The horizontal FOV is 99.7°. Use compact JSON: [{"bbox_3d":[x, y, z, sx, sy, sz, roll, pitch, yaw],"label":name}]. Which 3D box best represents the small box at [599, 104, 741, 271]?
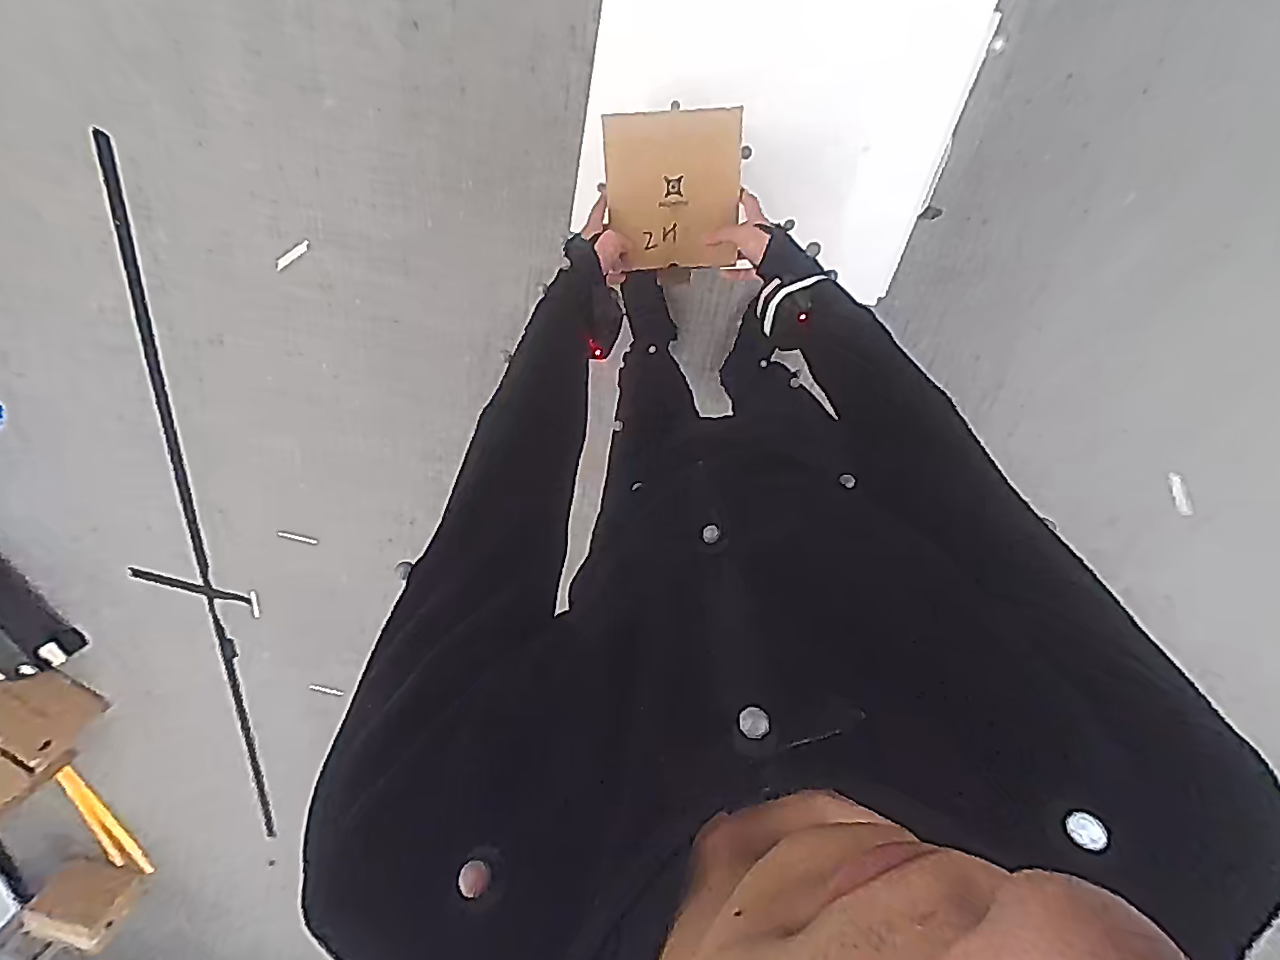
[{"bbox_3d":[0.039,-0.388,0.724,0.168,0.176,0.179,0,121,4],"label":"small box"}]

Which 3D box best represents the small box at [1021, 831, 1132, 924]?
[{"bbox_3d":[1.348,1.232,1.685,0.179,0.176,0.168,11,117,2],"label":"small box"}]
